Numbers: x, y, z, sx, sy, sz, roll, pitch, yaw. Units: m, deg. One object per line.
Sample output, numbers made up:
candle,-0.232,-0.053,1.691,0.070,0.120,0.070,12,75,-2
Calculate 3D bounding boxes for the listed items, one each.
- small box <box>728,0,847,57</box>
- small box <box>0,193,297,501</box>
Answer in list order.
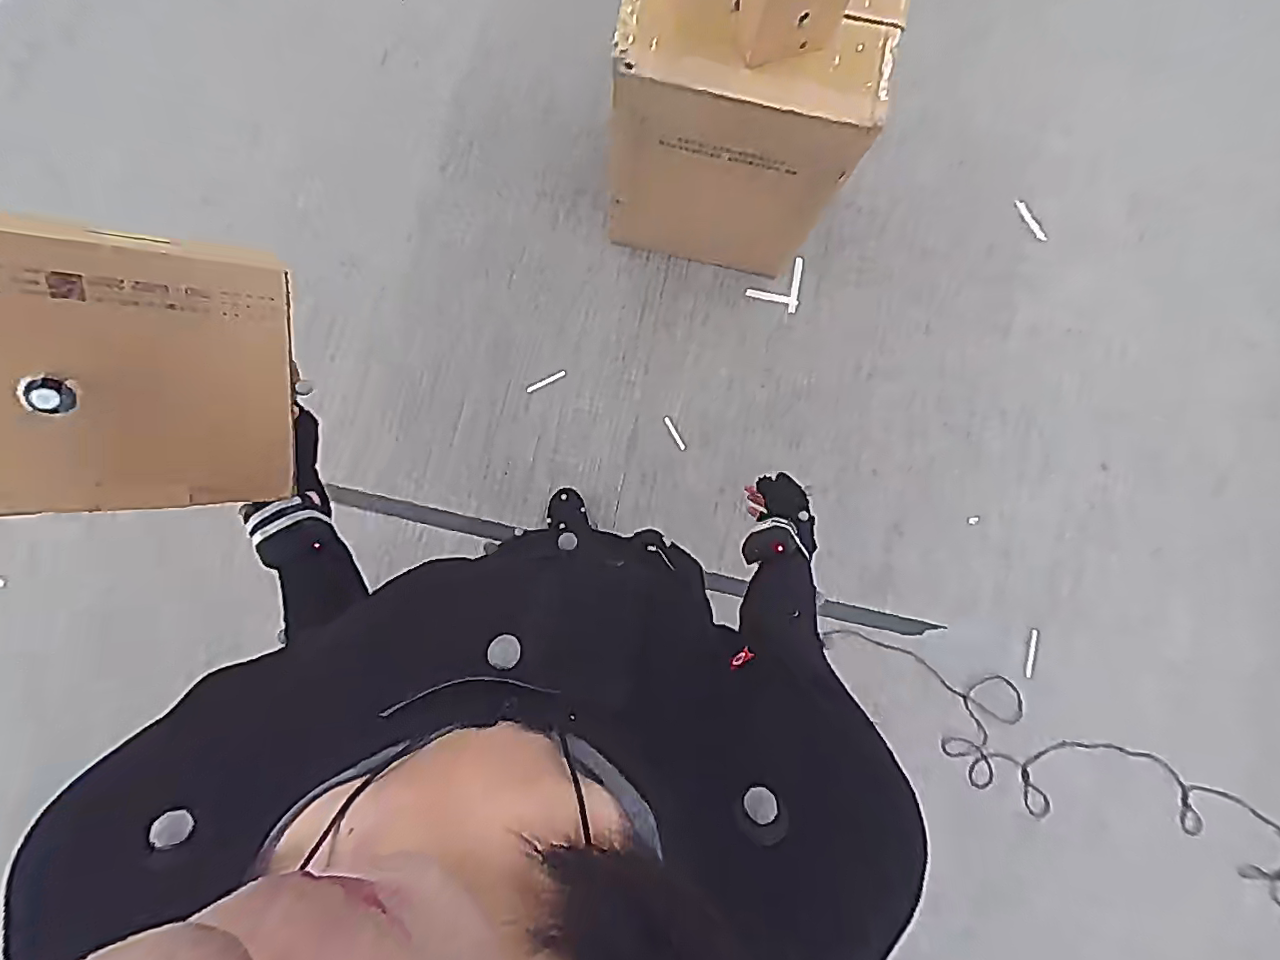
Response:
small box,0.255,-0.868,0.919,0.168,0.176,0.179,-18,88,-4
small box,-0.354,-0.100,0.393,0.168,0.179,0.176,-2,115,-34
